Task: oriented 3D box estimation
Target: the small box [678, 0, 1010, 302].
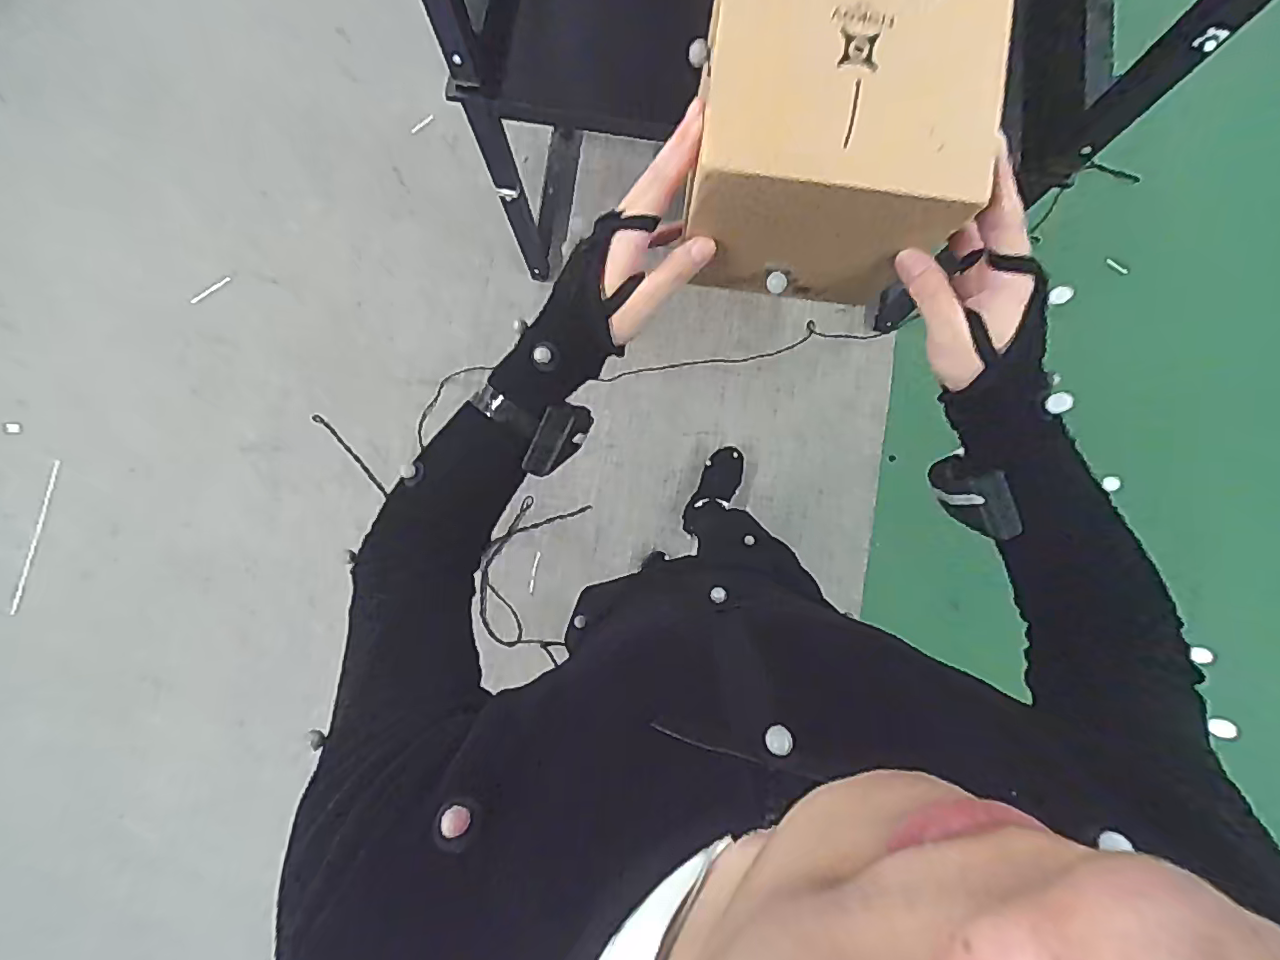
[{"bbox_3d":[0.122,-0.249,0.383,0.168,0.176,0.179,7,88,0],"label":"small box"}]
